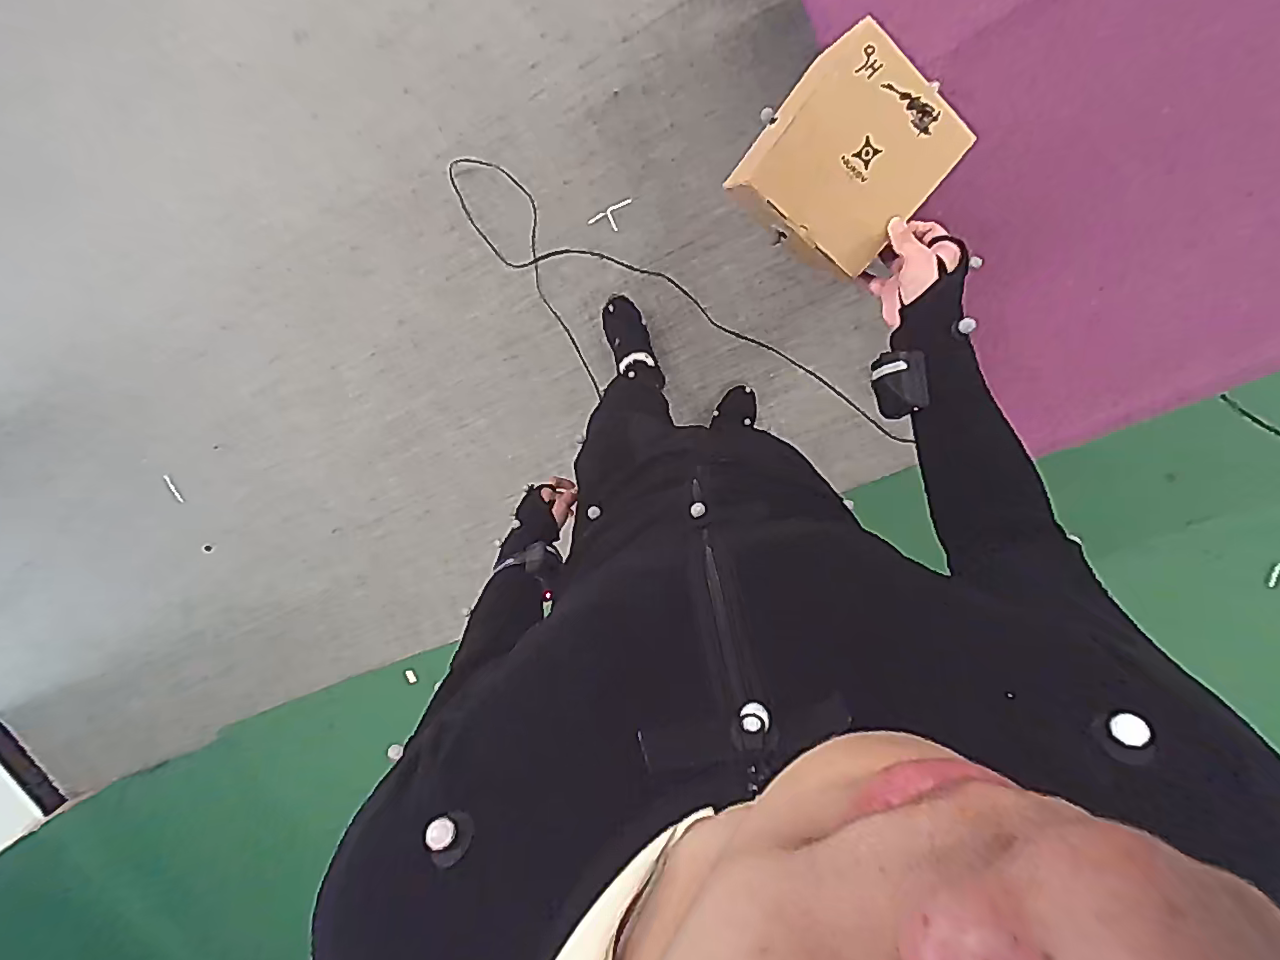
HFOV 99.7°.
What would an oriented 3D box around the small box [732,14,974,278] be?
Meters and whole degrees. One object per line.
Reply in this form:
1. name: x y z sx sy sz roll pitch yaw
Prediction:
1. small box: 0.223 -0.363 0.623 0.168 0.176 0.179 35 111 -16
